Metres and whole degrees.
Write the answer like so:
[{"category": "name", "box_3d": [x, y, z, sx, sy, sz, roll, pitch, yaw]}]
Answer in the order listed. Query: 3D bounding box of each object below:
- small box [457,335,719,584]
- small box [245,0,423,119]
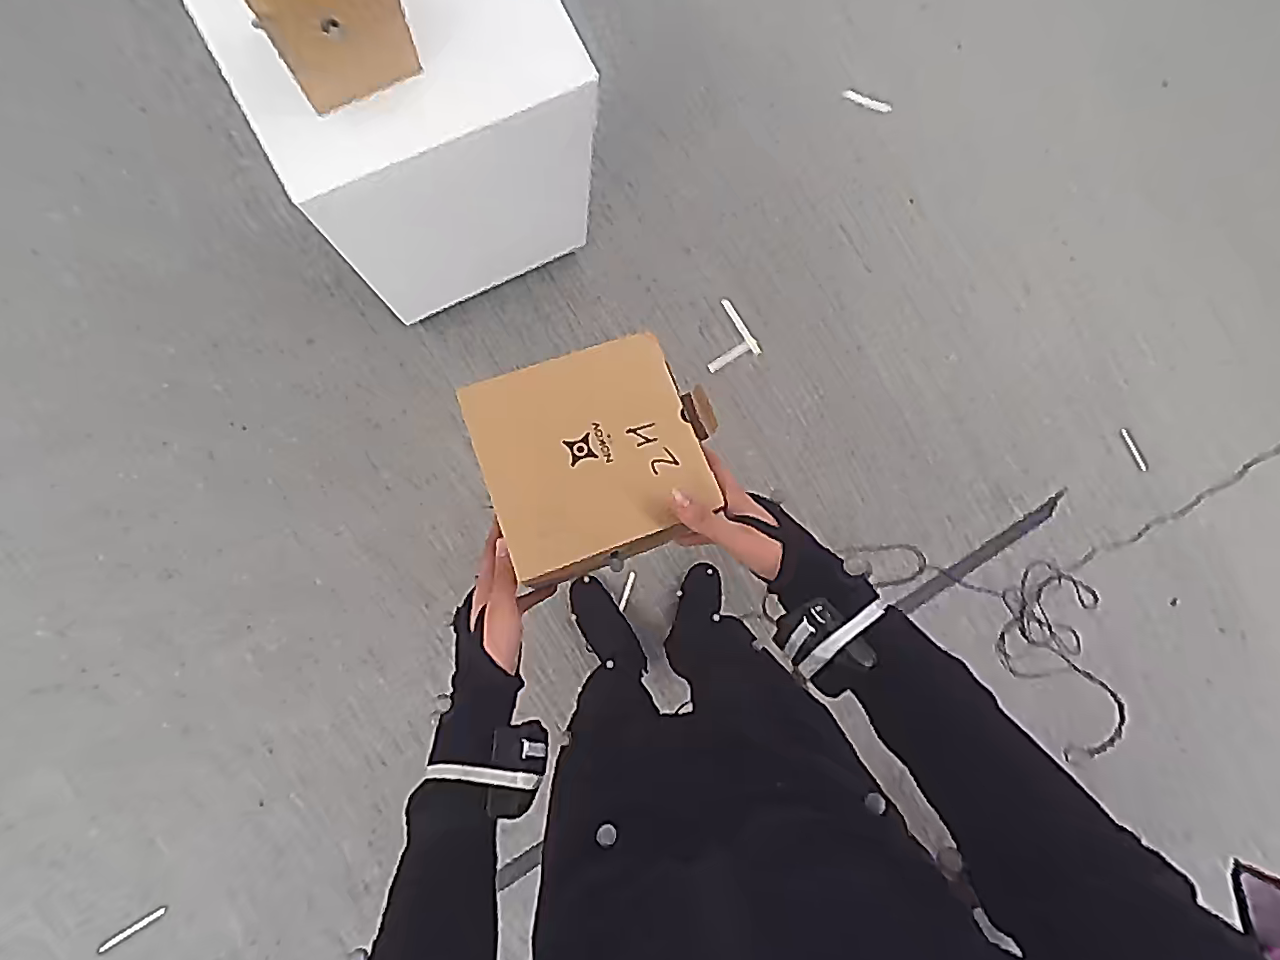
[{"category": "small box", "box_3d": [-0.049, -0.006, 0.516, 0.179, 0.176, 0.168, -19, 80, -10]}, {"category": "small box", "box_3d": [-0.433, -0.650, 0.748, 0.179, 0.176, 0.168, -30, 92, -9]}]
